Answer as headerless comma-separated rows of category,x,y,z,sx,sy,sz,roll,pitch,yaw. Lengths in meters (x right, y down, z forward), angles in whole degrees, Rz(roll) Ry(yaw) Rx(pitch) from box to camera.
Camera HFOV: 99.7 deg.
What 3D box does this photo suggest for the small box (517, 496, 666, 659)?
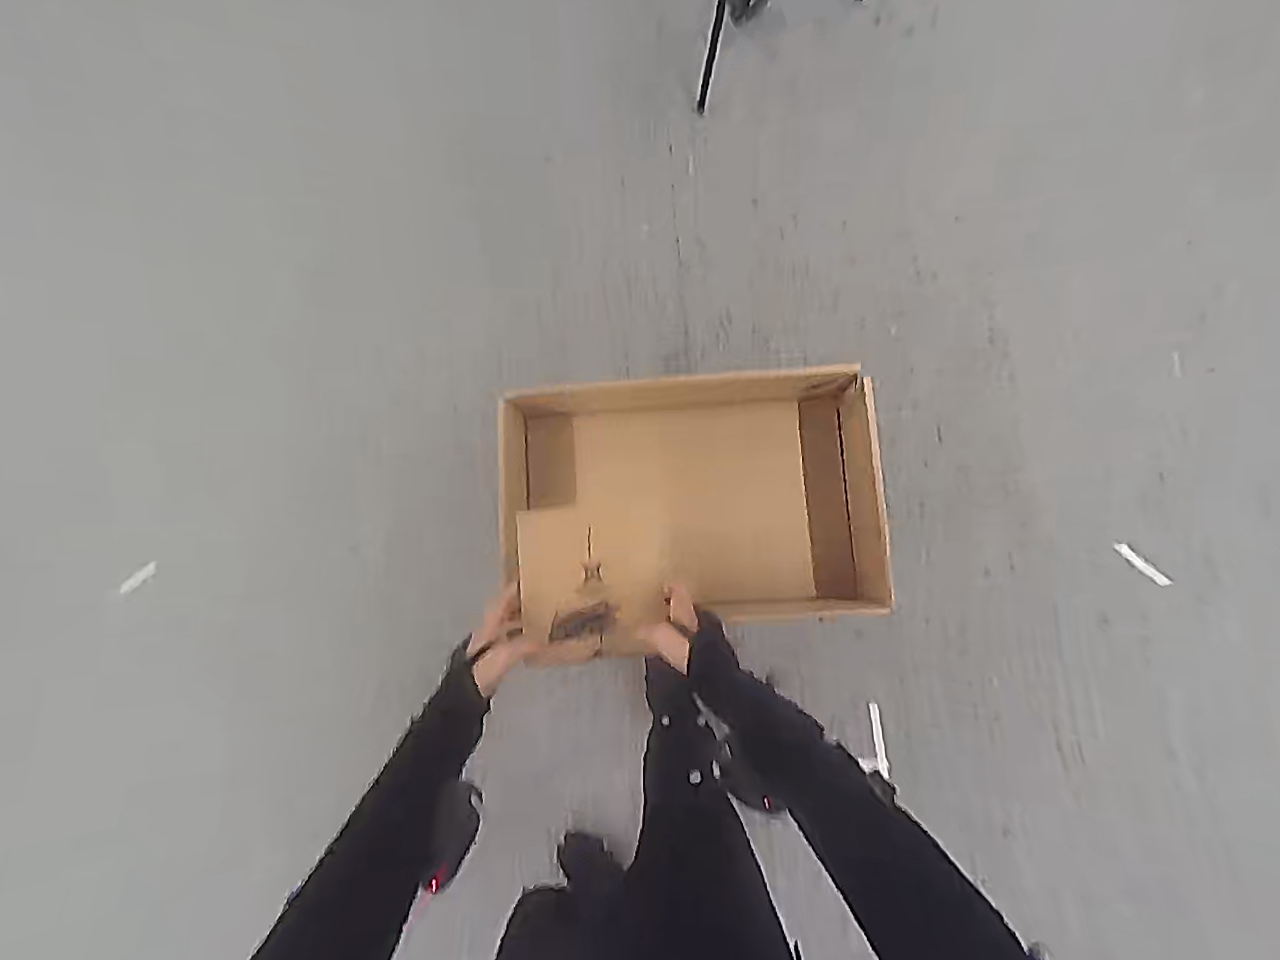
small box,-0.063,0.122,0.703,0.168,0.176,0.179,-5,80,-7
